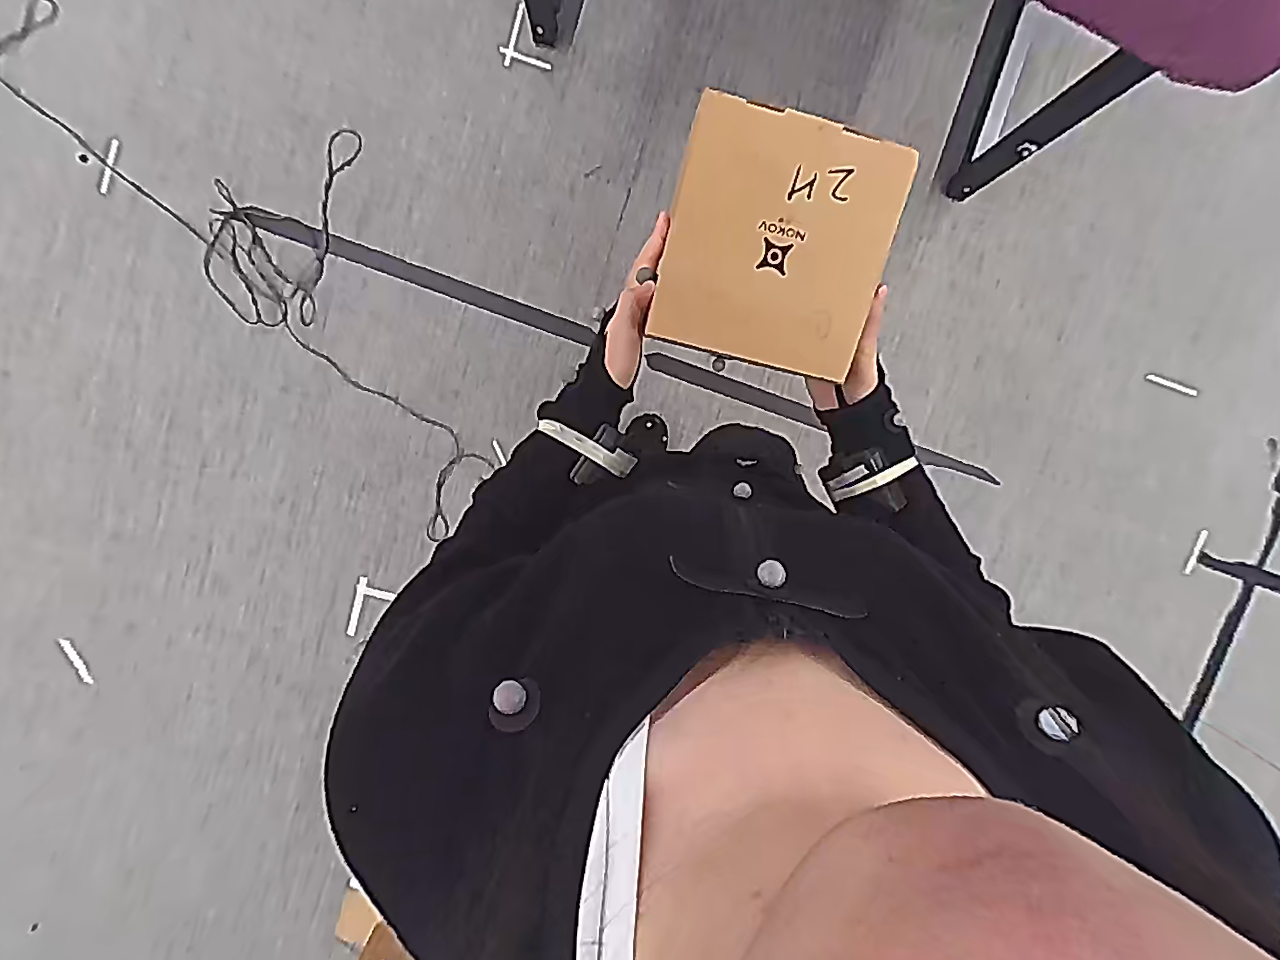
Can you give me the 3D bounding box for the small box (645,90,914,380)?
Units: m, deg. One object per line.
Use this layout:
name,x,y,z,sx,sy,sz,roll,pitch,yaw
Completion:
small box,0.104,-0.200,0.491,0.168,0.176,0.179,13,103,-5

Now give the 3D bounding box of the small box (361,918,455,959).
small box,-0.473,1.003,1.043,0.168,0.176,0.179,15,96,-2
